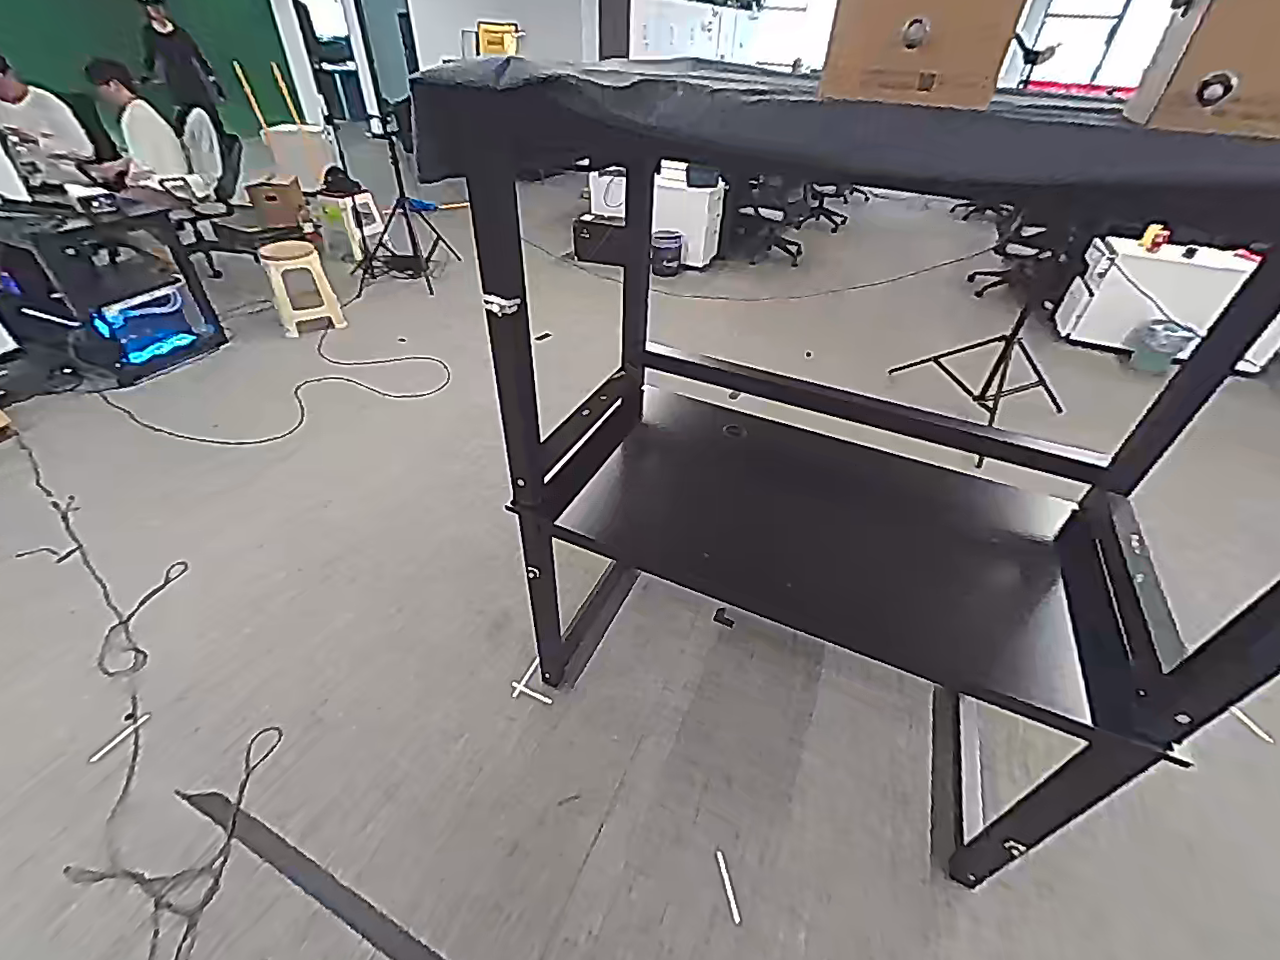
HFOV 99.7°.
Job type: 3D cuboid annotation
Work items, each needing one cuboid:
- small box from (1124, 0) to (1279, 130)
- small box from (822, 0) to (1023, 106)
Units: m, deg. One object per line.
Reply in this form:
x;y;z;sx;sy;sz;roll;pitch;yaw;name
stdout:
0.574;-0.409;0.471;0.168;0.176;0.179;21;41;21;small box
0.301;-0.497;0.556;0.168;0.176;0.179;19;40;19;small box
